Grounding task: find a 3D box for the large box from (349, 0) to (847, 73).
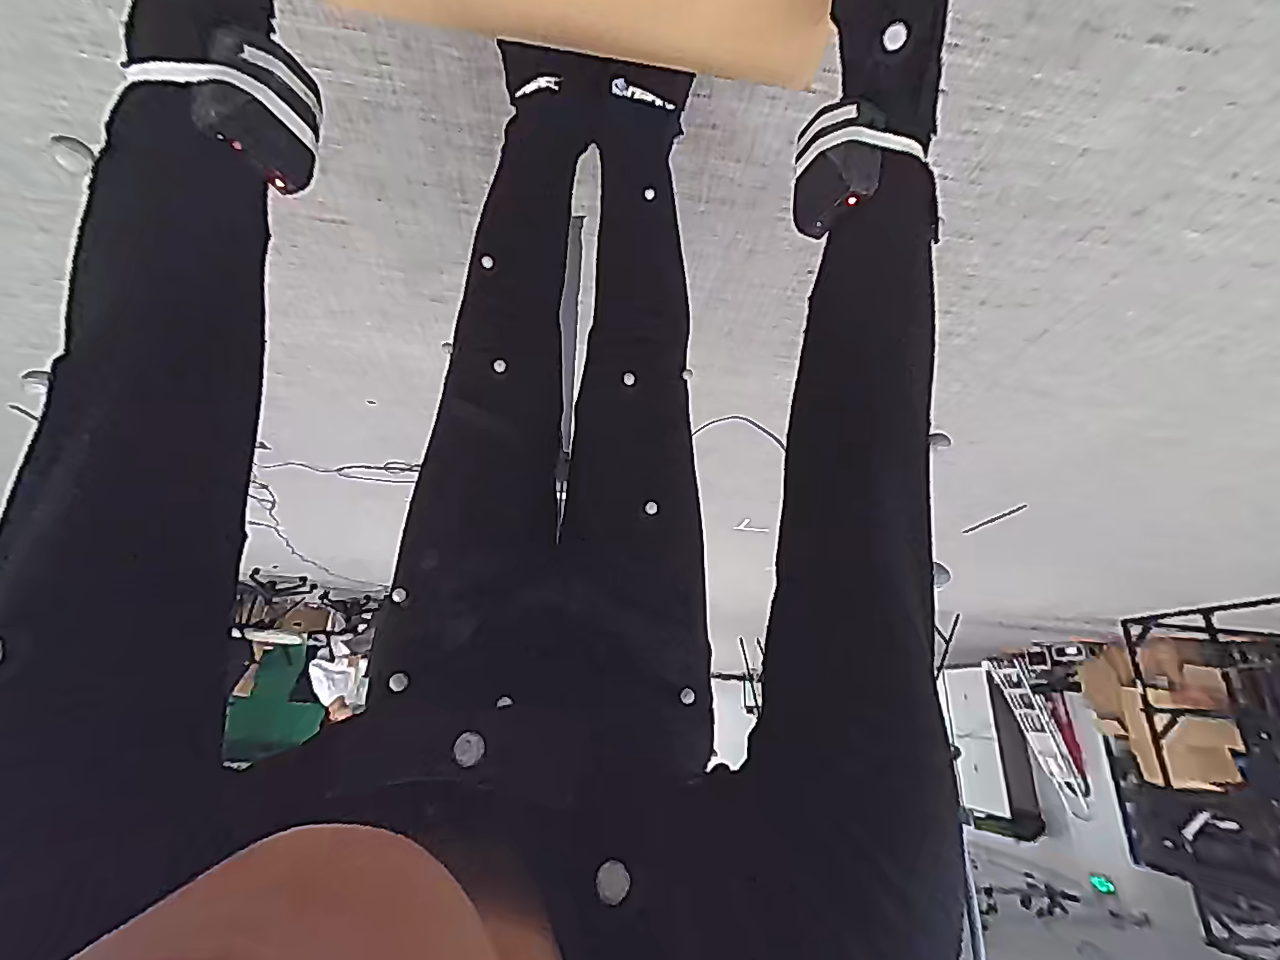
[{"bbox_3d":[-0.020,-0.565,0.374,0.408,0.320,0.320,5,158,-6],"label":"large box"}]
